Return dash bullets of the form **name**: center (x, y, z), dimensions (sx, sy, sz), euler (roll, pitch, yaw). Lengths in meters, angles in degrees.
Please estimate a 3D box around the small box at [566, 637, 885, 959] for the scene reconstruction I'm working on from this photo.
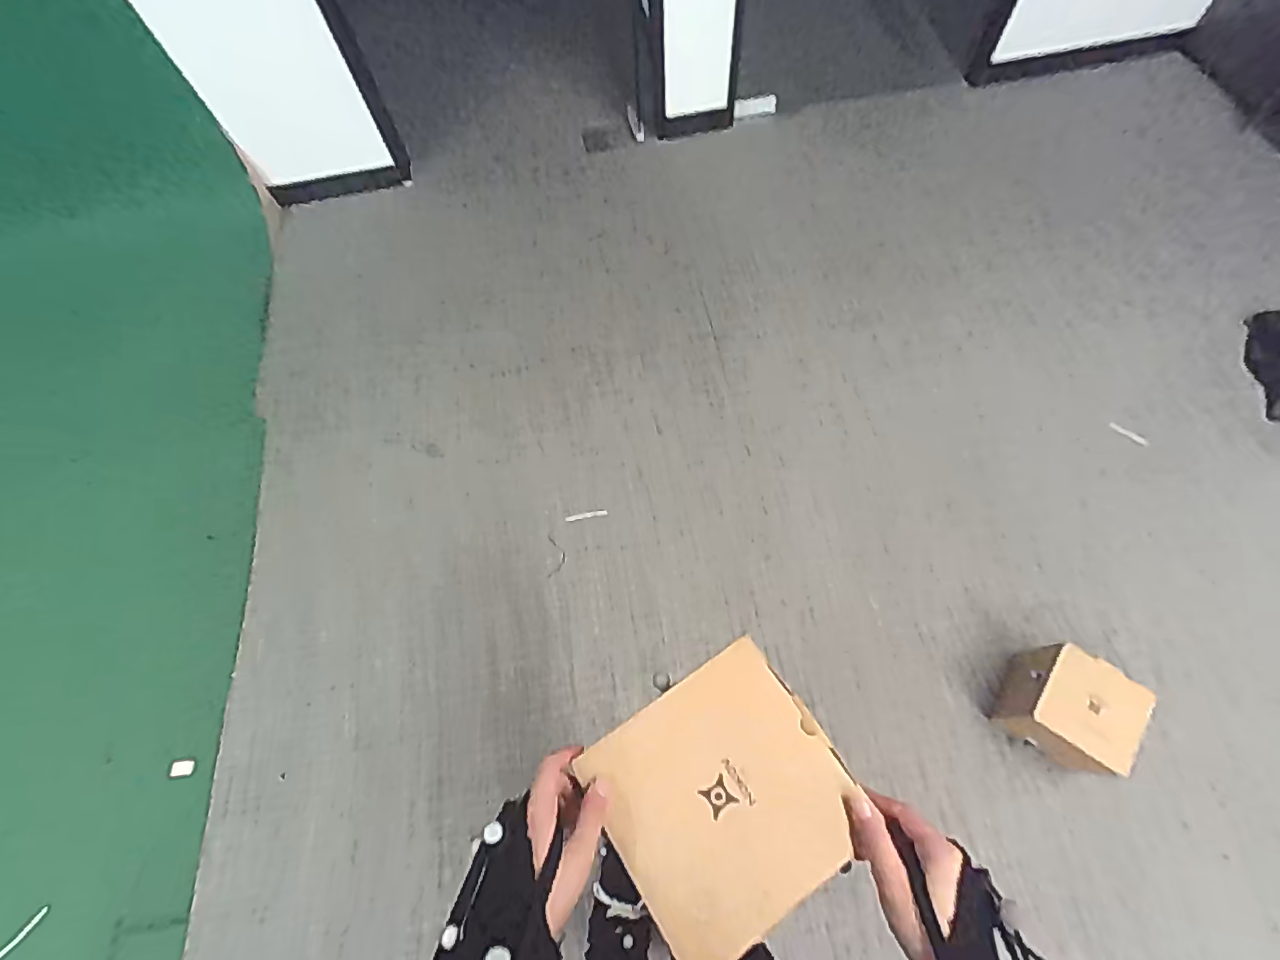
- **small box**: center (0.062, 0.264, 0.463), dimensions (0.179, 0.176, 0.168), euler (-32, 68, -12)

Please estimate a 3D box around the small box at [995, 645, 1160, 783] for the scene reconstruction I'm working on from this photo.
- **small box**: center (0.839, 0.453, 1.056), dimensions (0.168, 0.176, 0.179), euler (33, 72, 19)
